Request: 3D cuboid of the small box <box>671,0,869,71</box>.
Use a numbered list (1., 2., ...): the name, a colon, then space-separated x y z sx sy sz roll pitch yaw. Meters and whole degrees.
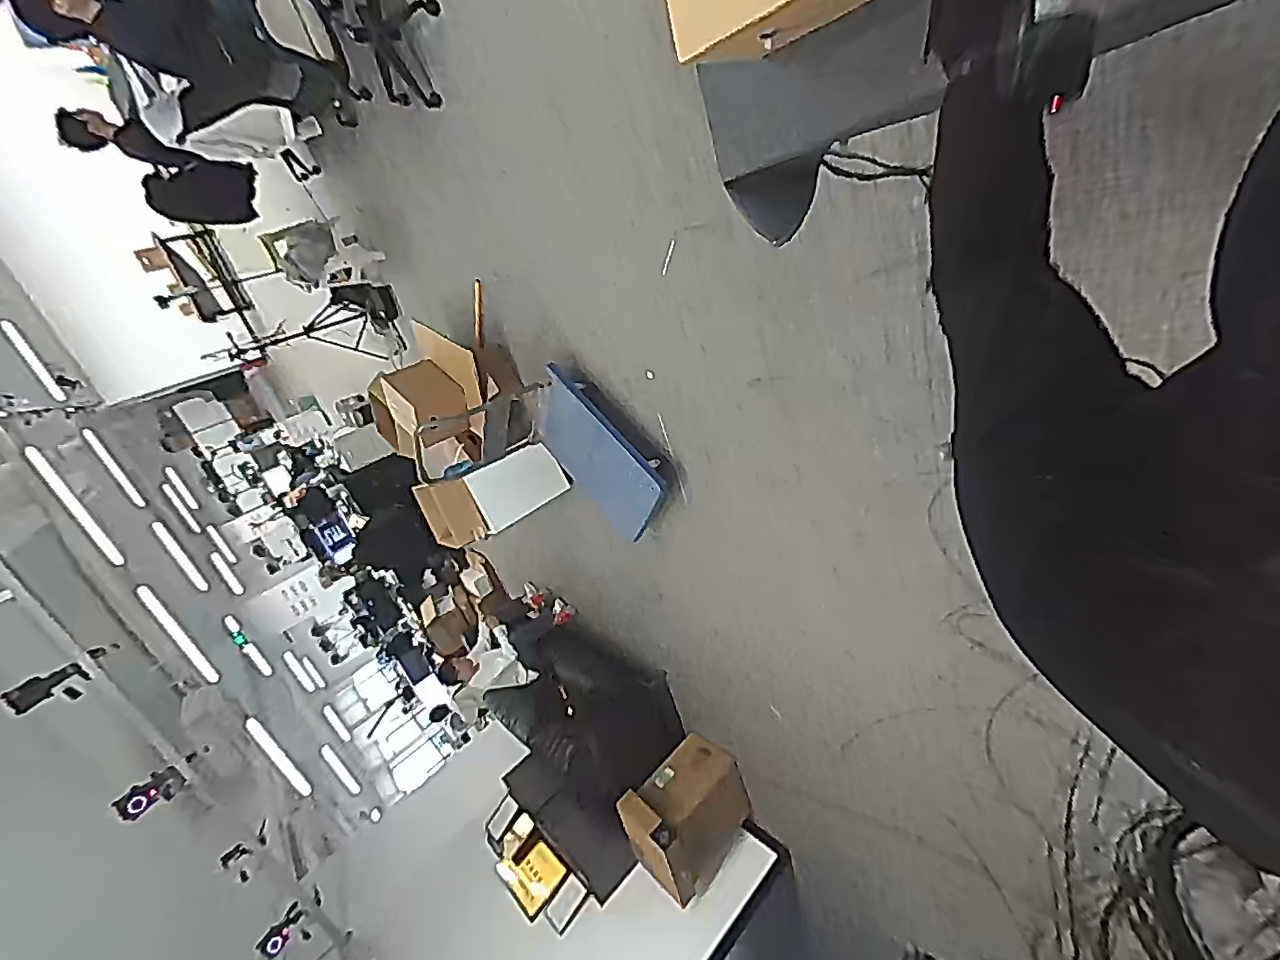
1. small box: 0.147 -0.590 0.602 0.179 0.176 0.168 13 128 48
